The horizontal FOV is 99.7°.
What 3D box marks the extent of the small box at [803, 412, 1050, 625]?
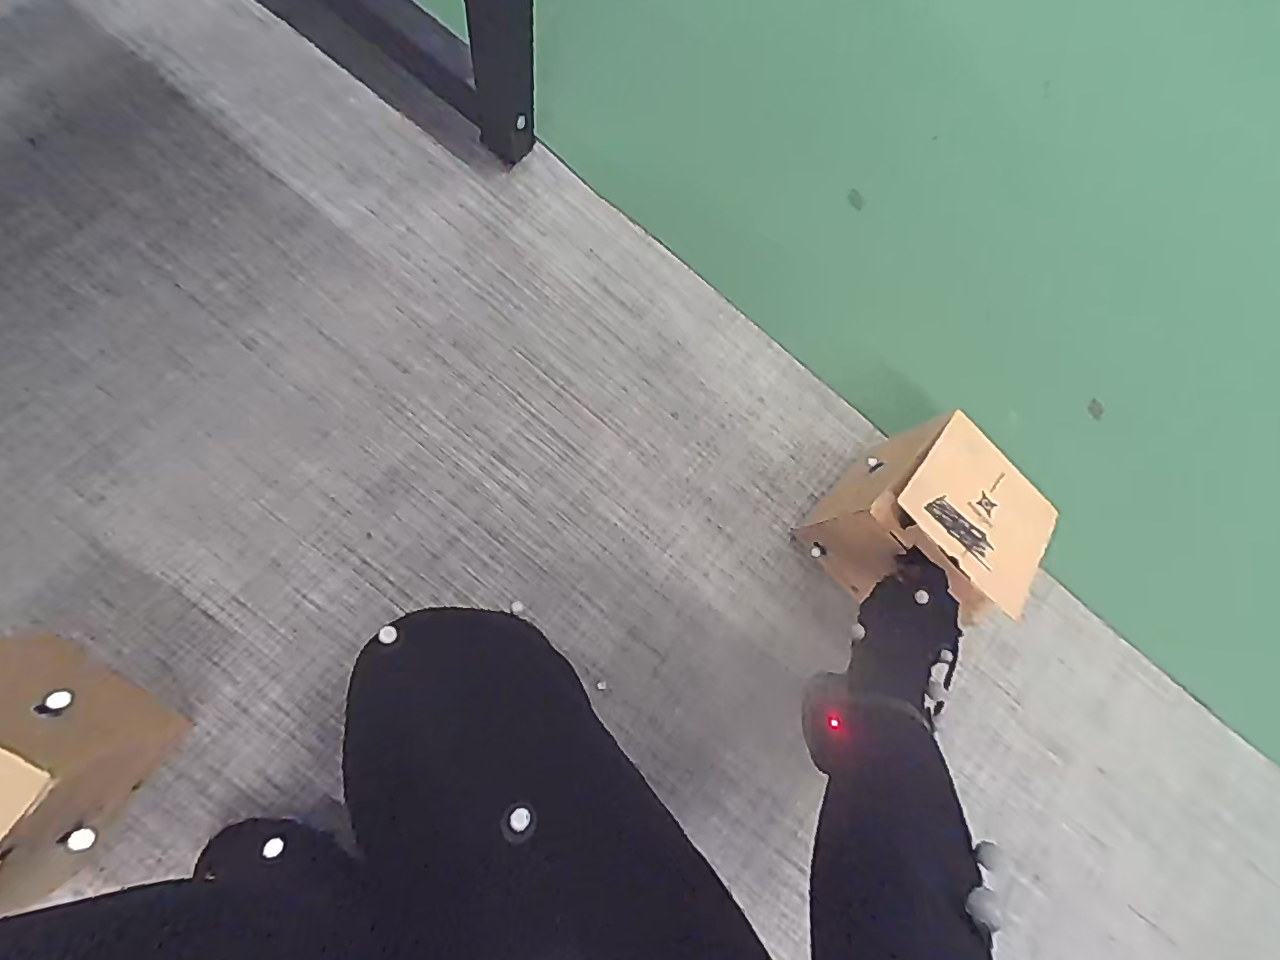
[{"bbox_3d":[0.326,0.054,0.654,0.168,0.176,0.179,46,72,1],"label":"small box"}]
